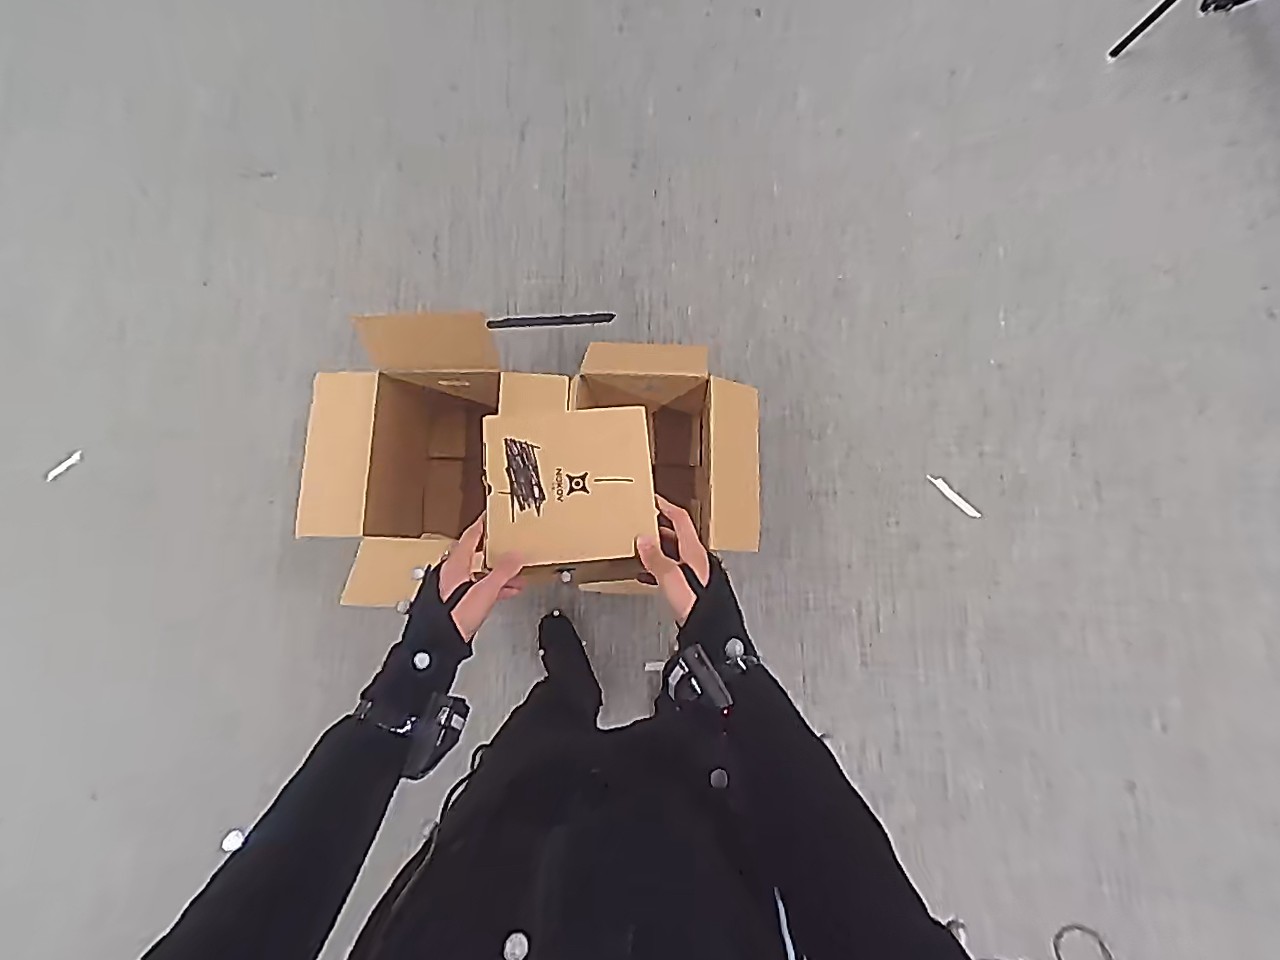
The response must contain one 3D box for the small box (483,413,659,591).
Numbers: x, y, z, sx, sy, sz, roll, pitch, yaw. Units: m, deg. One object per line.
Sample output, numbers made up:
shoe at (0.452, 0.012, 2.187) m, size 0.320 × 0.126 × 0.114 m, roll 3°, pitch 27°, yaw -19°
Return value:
small box at (-0.076, 0.034, 0.632) m, size 0.179 × 0.176 × 0.168 m, roll -4°, pitch 72°, yaw -5°
